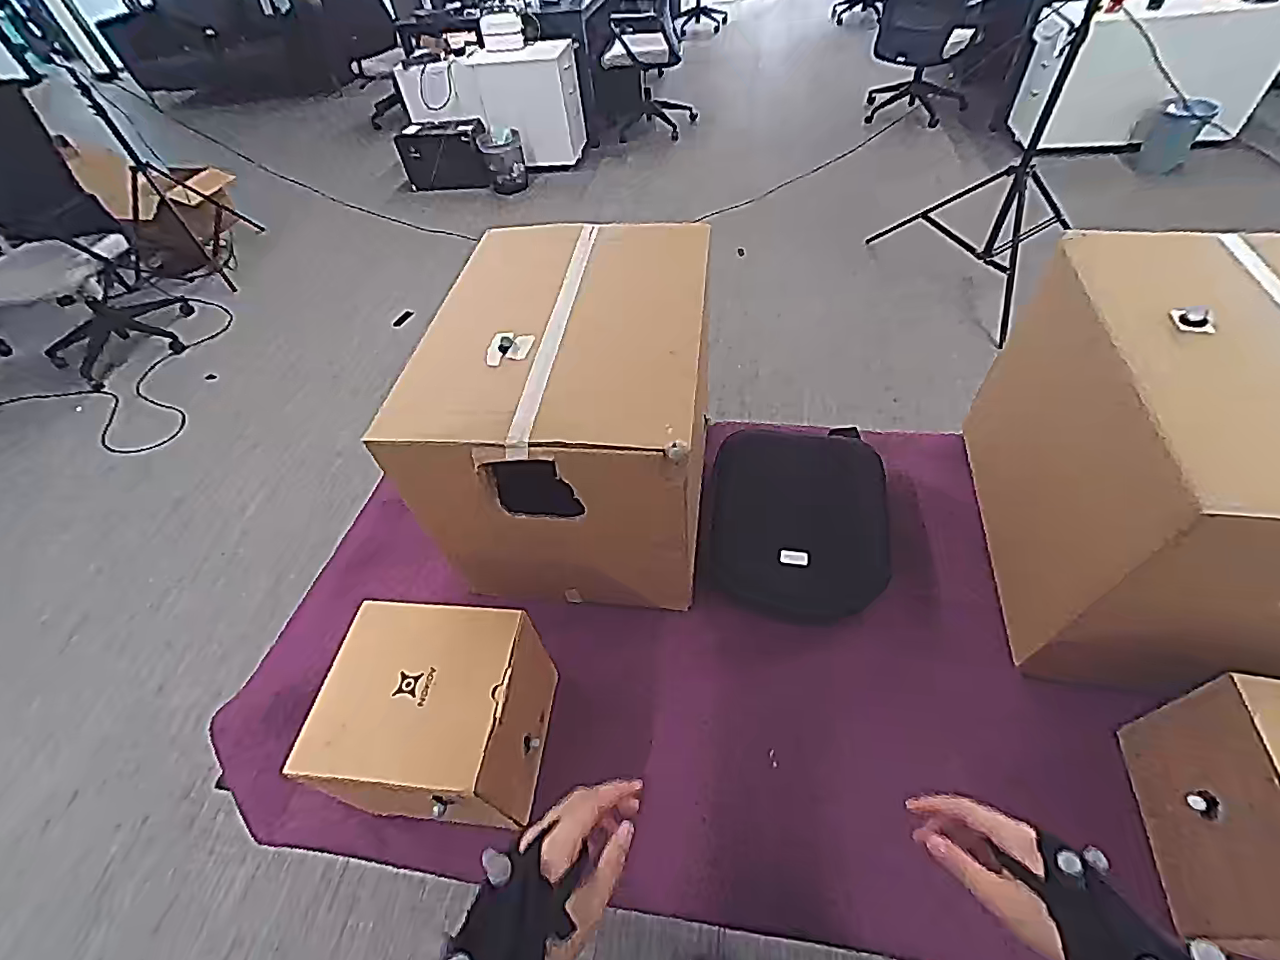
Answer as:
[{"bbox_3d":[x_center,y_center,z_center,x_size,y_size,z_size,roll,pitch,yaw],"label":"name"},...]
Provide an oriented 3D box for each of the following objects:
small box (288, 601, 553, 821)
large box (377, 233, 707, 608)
[{"bbox_3d":[-0.204,0.243,0.564,0.179,0.176,0.168,1,49,6],"label":"small box"},{"bbox_3d":[-0.072,-0.083,0.731,0.320,0.320,0.408,1,53,9],"label":"large box"}]
